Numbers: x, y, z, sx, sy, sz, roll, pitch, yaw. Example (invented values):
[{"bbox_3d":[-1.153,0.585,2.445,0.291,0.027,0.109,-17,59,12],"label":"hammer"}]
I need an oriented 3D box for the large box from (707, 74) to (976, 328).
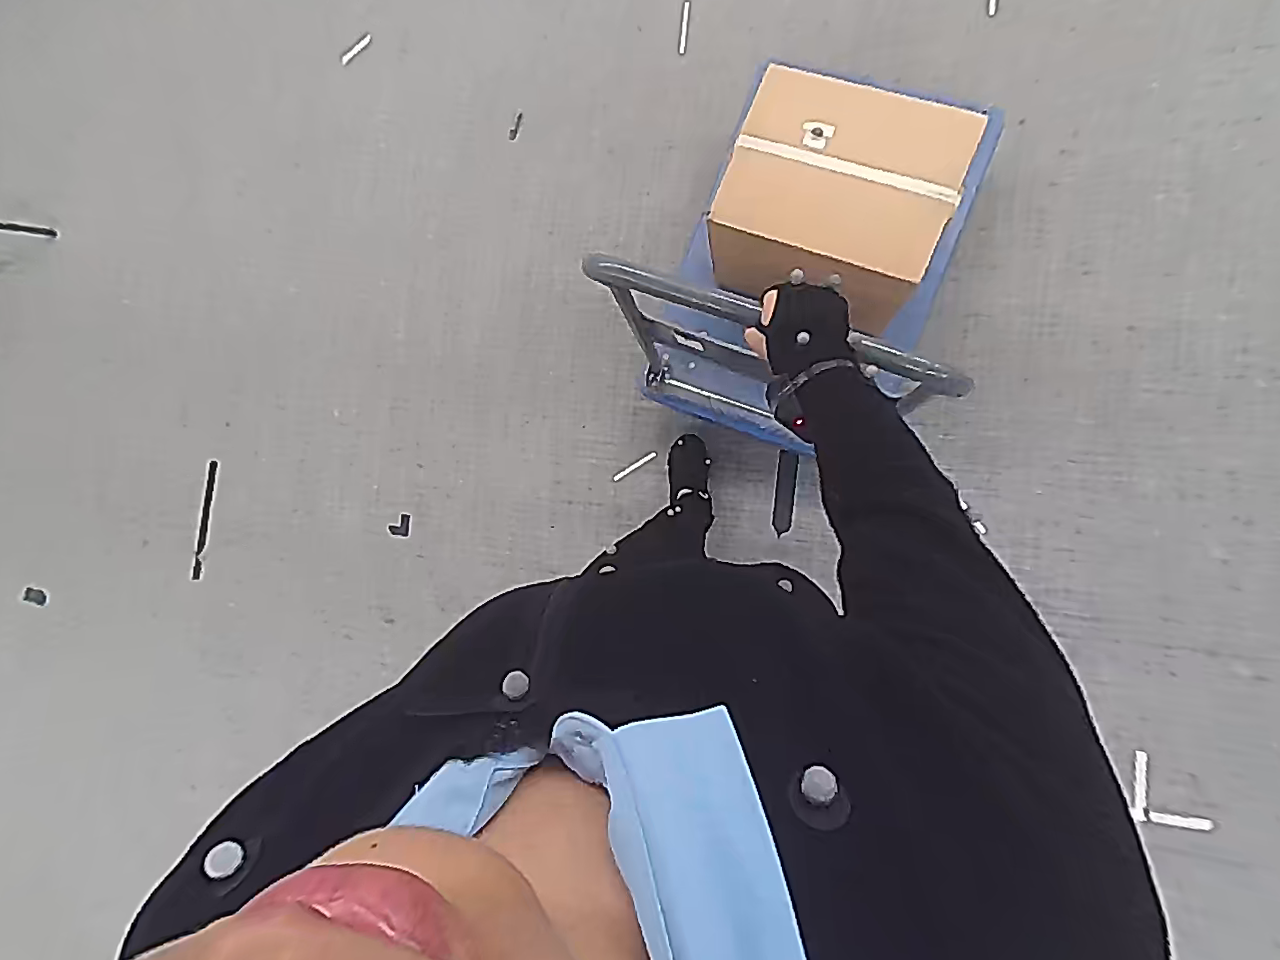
[{"bbox_3d":[0.395,-0.562,1.142,0.408,0.320,0.320,22,91,12],"label":"large box"}]
